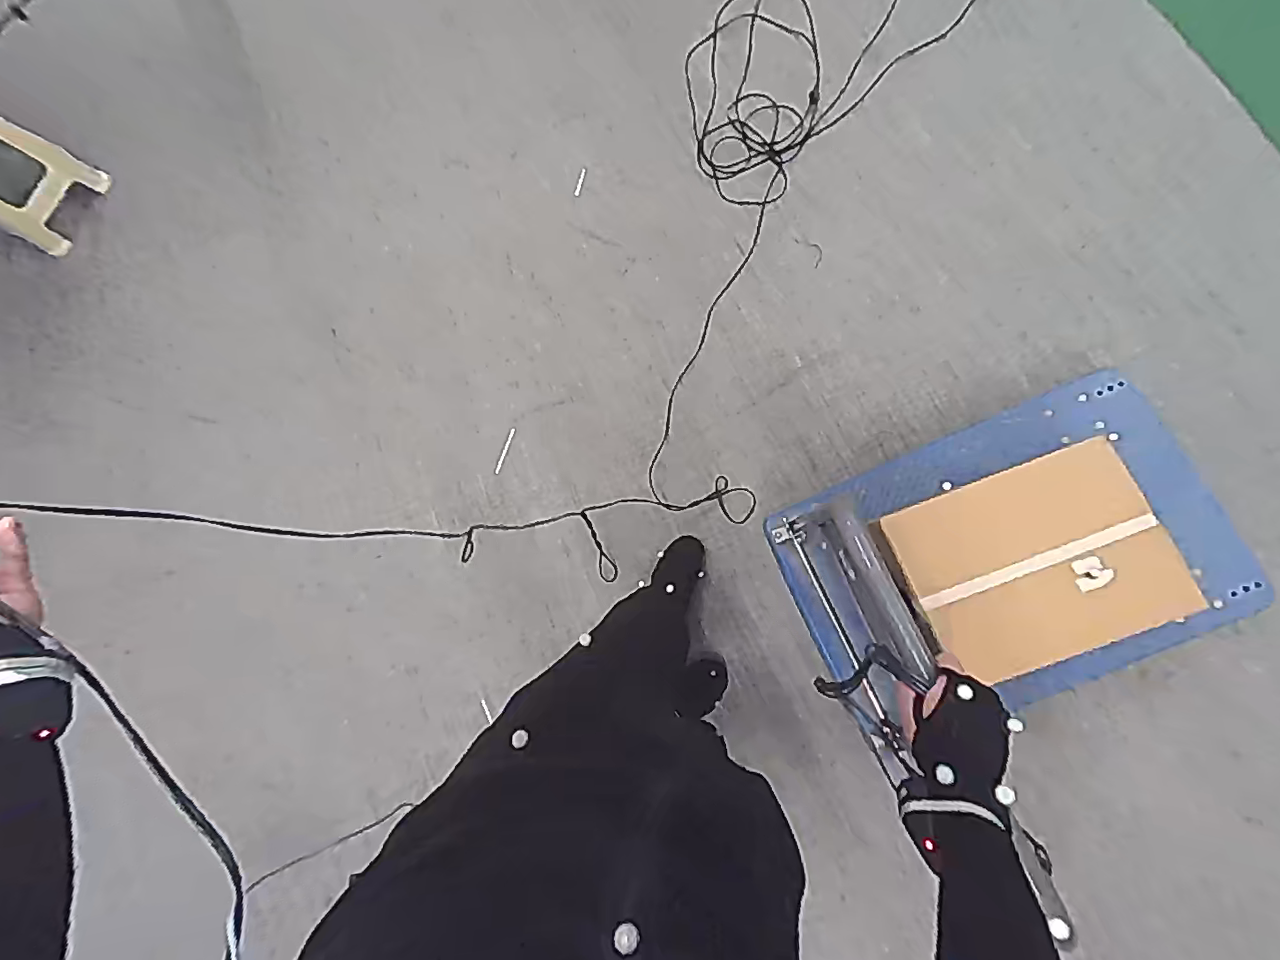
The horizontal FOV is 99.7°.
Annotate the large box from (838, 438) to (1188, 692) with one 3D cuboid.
[{"bbox_3d":[0.665,0.166,1.055,0.408,0.320,0.320,-21,79,4],"label":"large box"}]
